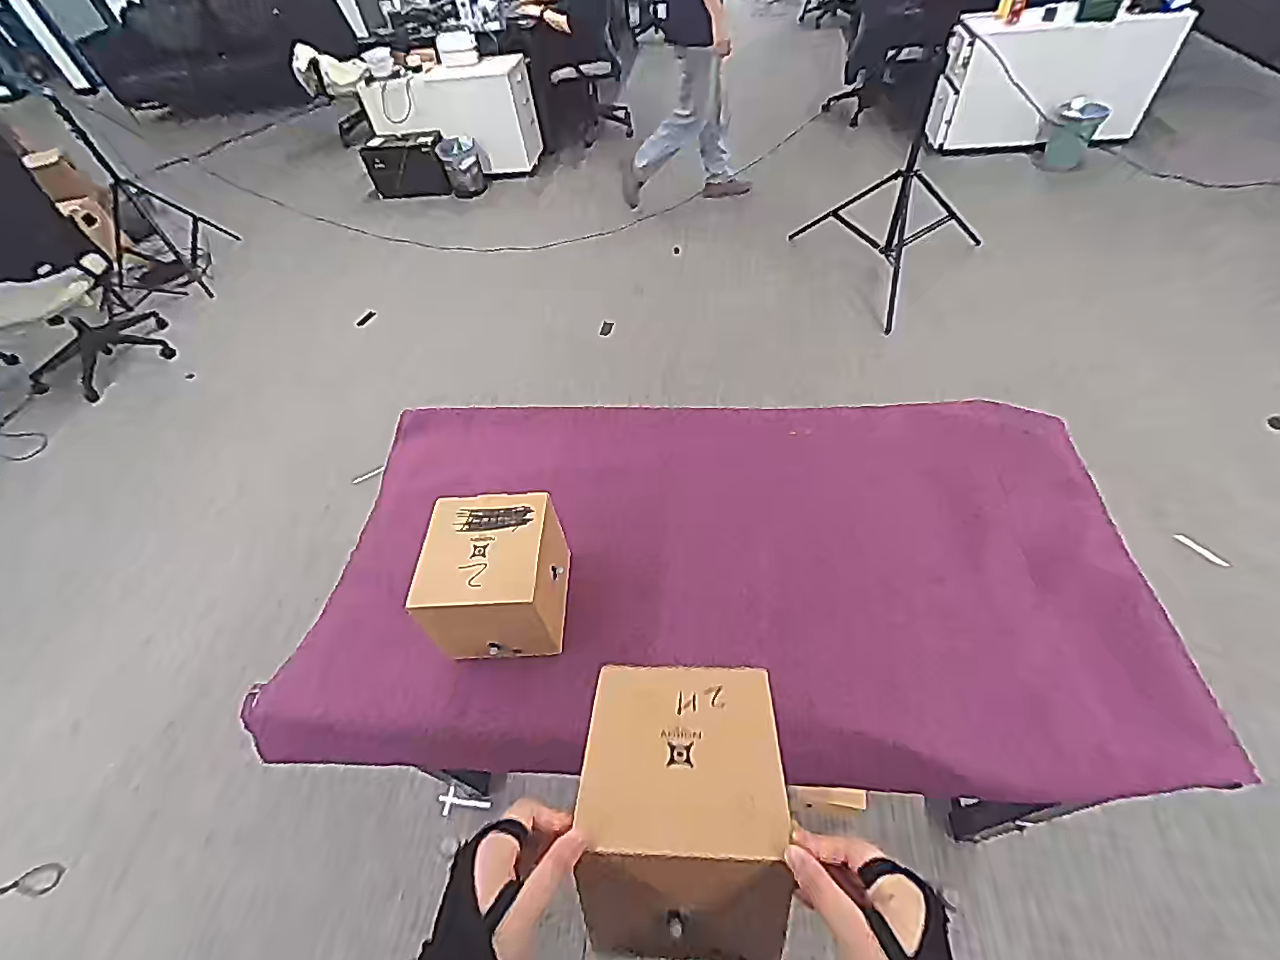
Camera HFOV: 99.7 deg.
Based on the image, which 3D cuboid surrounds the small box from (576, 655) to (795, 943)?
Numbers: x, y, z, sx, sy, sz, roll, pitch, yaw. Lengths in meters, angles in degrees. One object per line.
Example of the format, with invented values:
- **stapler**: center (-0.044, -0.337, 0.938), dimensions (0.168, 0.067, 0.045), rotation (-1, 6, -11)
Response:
- **small box**: center (0.045, 0.289, 0.504), dimensions (0.168, 0.176, 0.179), rotation (0, 29, 5)

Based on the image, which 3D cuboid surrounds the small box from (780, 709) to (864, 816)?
- **small box**: center (0.408, 0.651, 1.240), dimensions (0.168, 0.176, 0.179), rotation (4, 51, 11)
